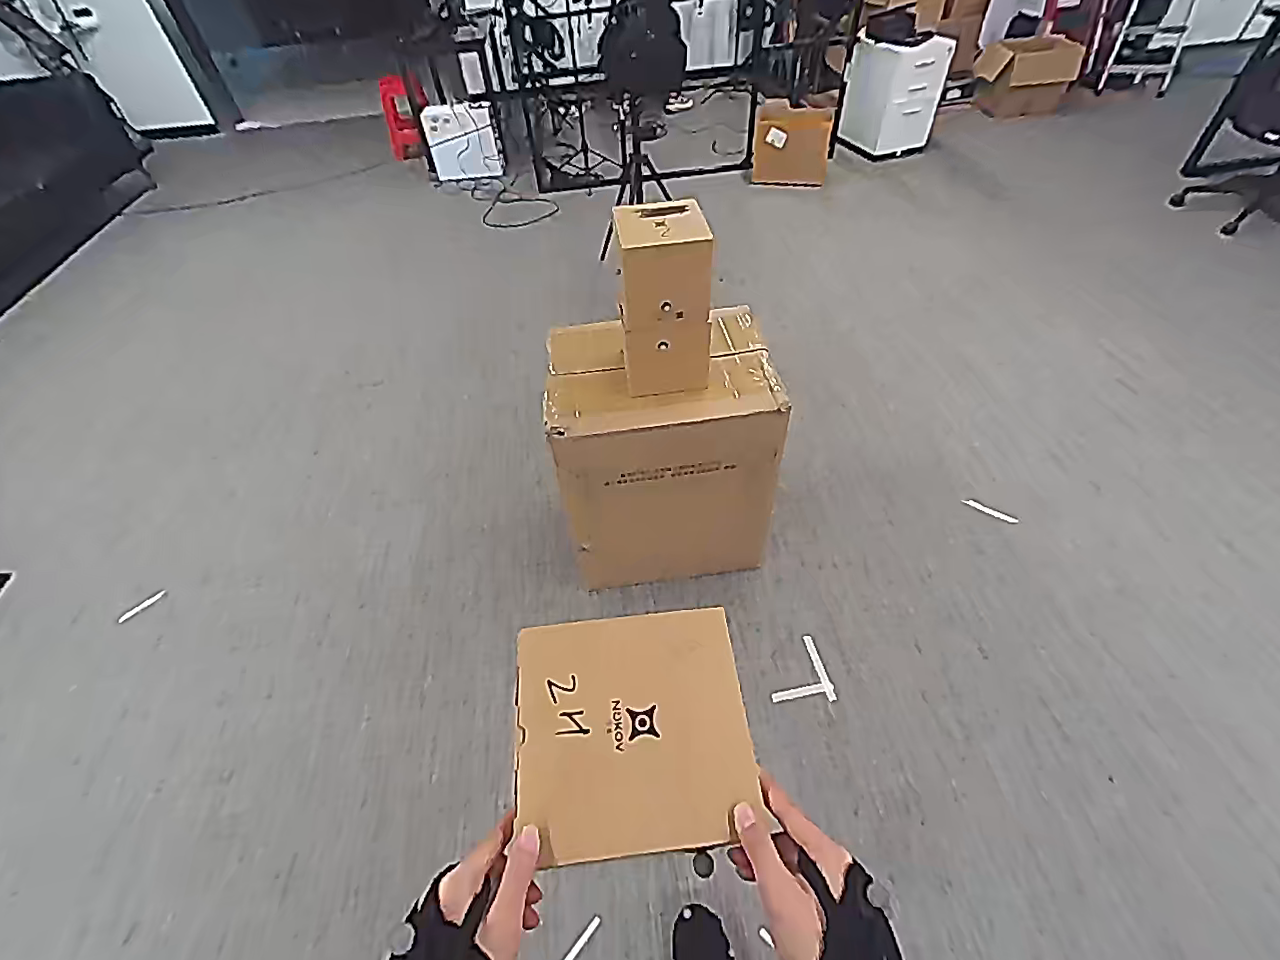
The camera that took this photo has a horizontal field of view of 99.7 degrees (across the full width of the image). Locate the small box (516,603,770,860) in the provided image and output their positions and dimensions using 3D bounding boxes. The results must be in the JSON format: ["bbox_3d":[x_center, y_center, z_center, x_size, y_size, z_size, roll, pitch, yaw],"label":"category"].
[{"bbox_3d":[-0.004,0.222,0.473,0.179,0.176,0.168,-6,55,-3],"label":"small box"}]

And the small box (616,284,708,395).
[{"bbox_3d":[0.047,-0.302,1.178,0.179,0.176,0.168,-7,49,-3],"label":"small box"}]
